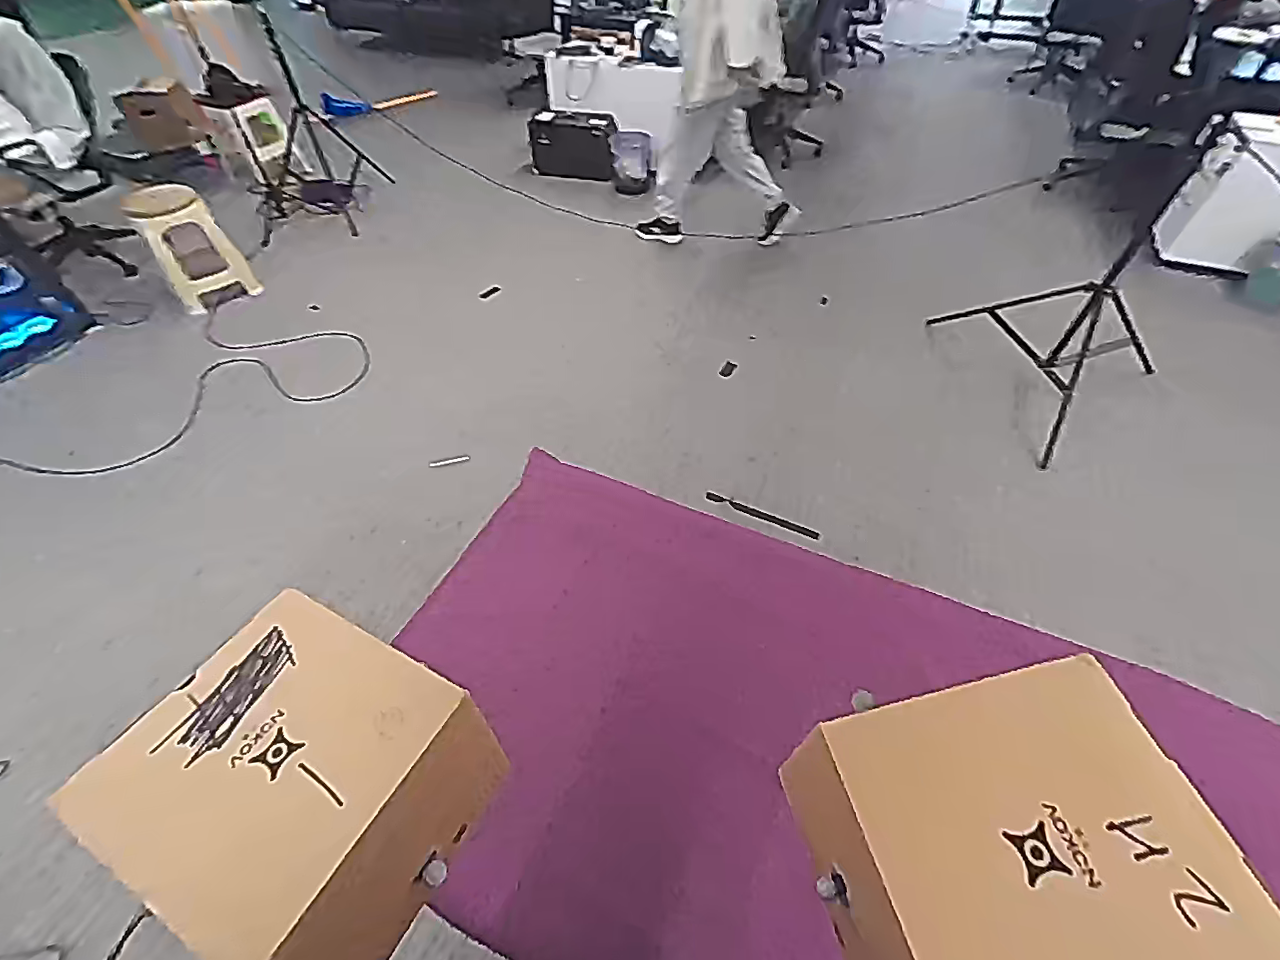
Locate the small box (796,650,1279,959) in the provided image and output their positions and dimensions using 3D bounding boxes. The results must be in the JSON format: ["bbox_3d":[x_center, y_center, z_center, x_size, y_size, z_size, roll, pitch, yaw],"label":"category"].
[{"bbox_3d":[0.210,0.231,0.336,0.179,0.176,0.168,-12,54,-6],"label":"small box"}]

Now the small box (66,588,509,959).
[{"bbox_3d":[-0.222,0.216,0.392,0.179,0.176,0.168,22,51,18],"label":"small box"}]
